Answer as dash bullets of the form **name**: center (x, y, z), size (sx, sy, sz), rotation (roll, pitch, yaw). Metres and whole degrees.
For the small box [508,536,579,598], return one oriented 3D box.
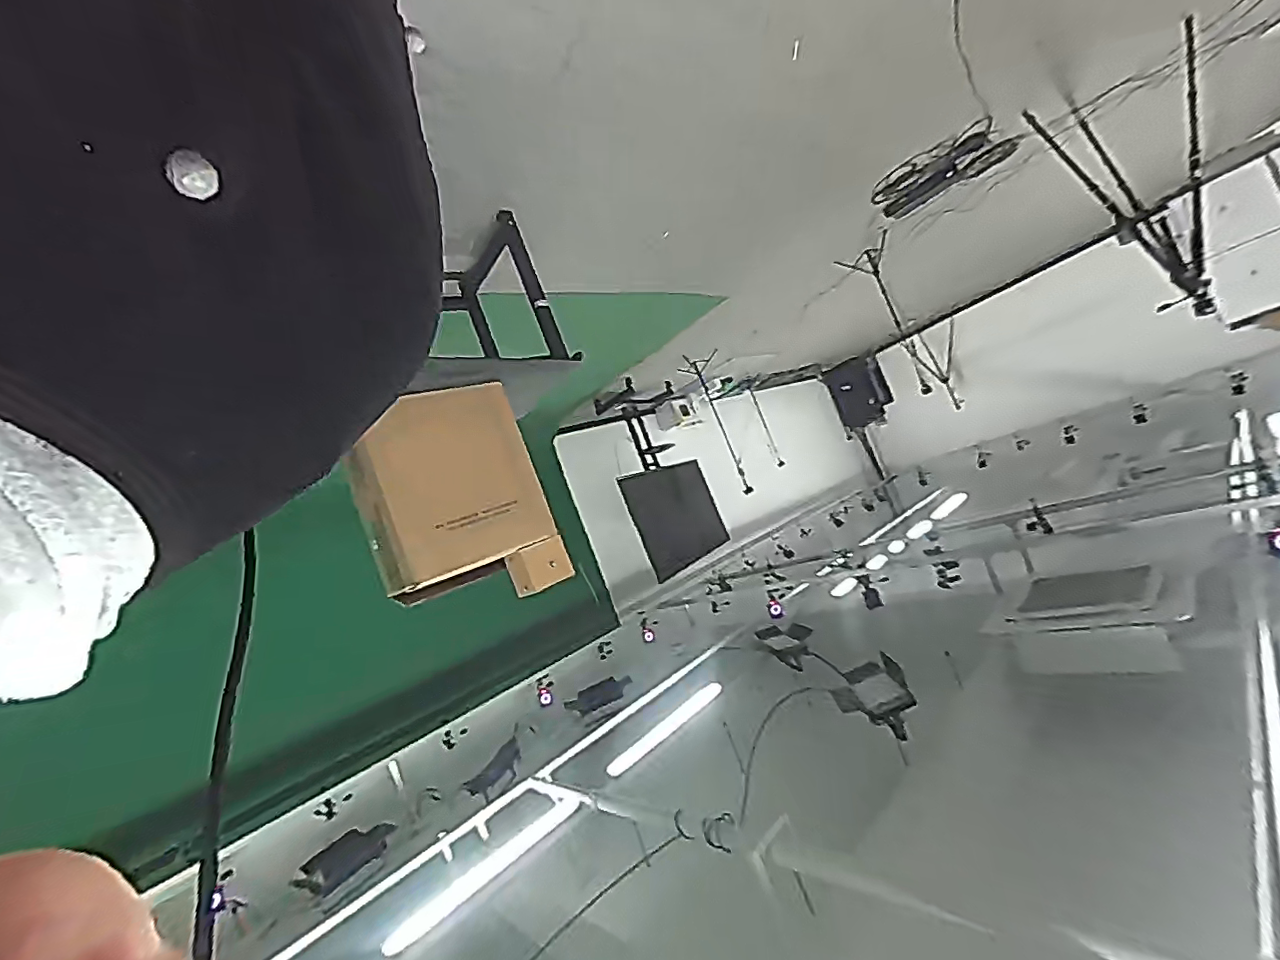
- **small box**: center (-0.369, 0.327, 2.054), size (0.179, 0.176, 0.168), rotation (-22, 175, -38)
